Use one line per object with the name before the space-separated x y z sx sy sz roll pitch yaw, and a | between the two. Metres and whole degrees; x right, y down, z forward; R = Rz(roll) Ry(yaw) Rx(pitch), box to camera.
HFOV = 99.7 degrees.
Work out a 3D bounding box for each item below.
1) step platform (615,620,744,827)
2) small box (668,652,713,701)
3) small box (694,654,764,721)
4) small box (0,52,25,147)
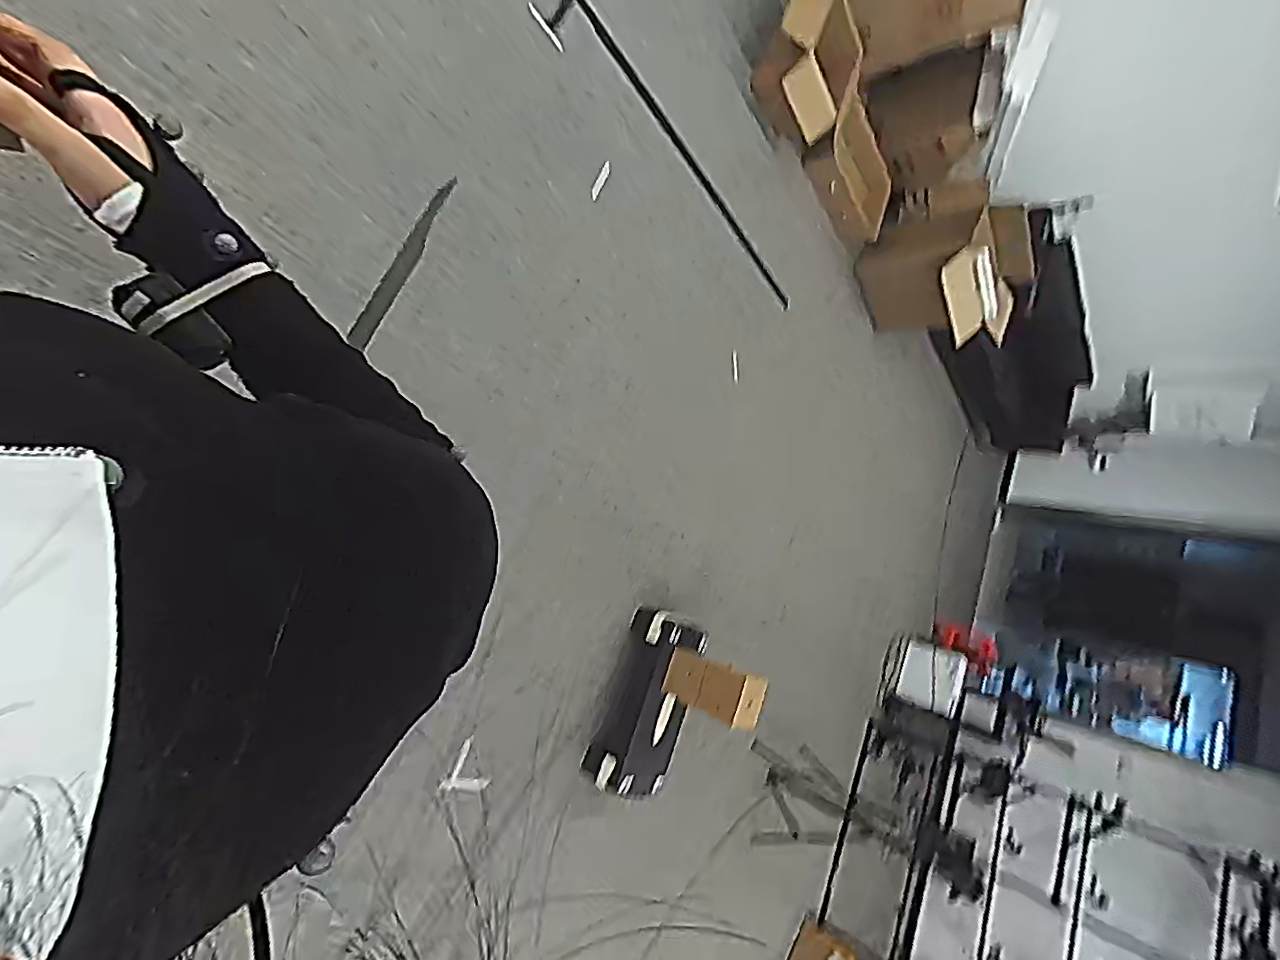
step platform | 0.156 0.877 2.004 0.286 0.204 0.684 32 73 -43
small box | 0.206 0.741 2.088 0.168 0.176 0.179 29 74 -43
small box | 0.321 0.756 1.972 0.168 0.176 0.179 29 75 -44
small box | -0.464 -0.291 0.272 0.168 0.176 0.179 -19 118 -40
